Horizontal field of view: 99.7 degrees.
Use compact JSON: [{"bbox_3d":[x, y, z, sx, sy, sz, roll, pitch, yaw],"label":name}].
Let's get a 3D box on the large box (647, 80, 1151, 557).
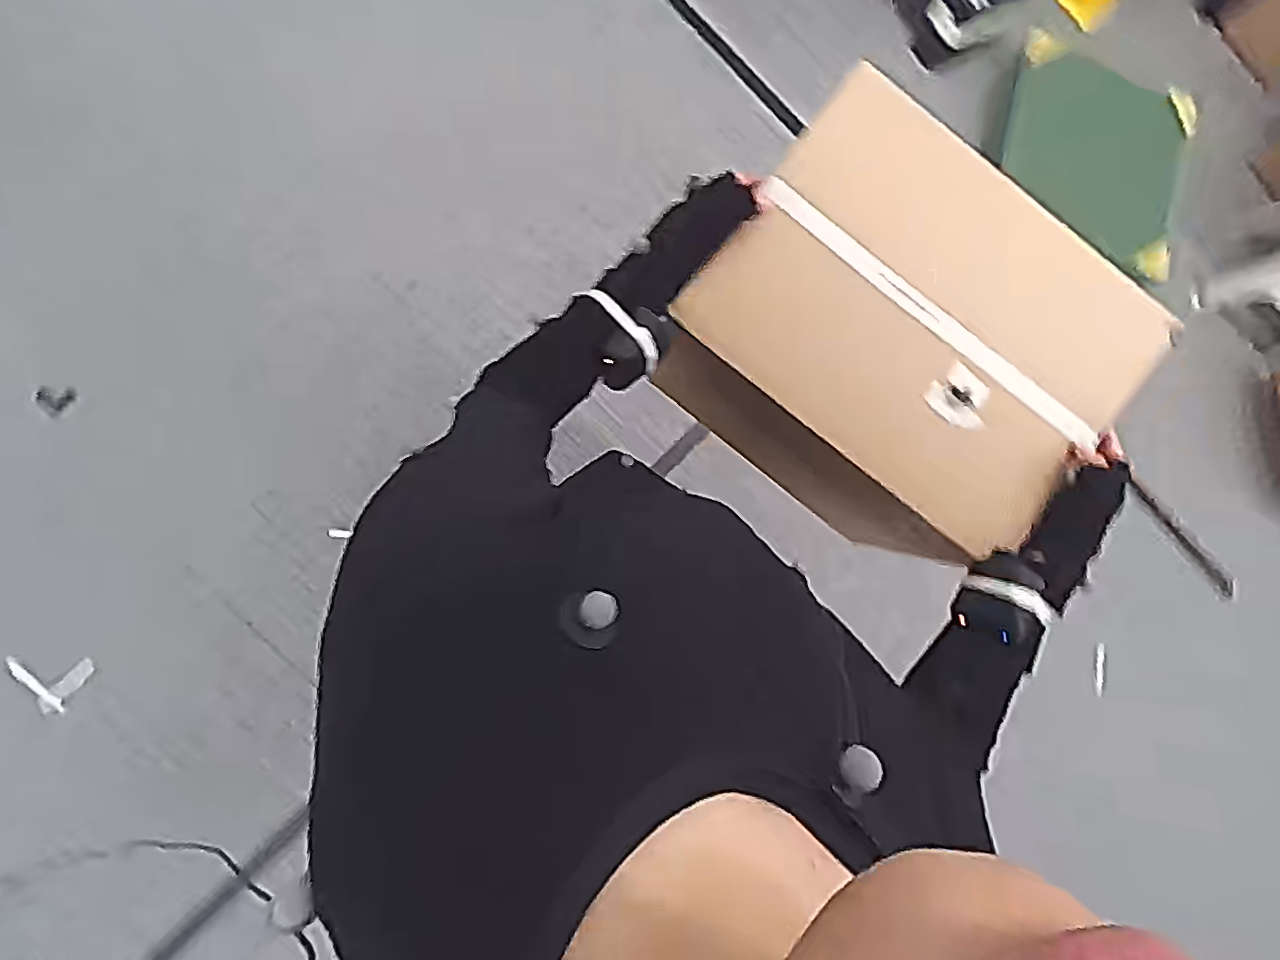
[{"bbox_3d":[0.265,-0.158,0.682,0.408,0.320,0.320,38,88,-3],"label":"large box"}]
